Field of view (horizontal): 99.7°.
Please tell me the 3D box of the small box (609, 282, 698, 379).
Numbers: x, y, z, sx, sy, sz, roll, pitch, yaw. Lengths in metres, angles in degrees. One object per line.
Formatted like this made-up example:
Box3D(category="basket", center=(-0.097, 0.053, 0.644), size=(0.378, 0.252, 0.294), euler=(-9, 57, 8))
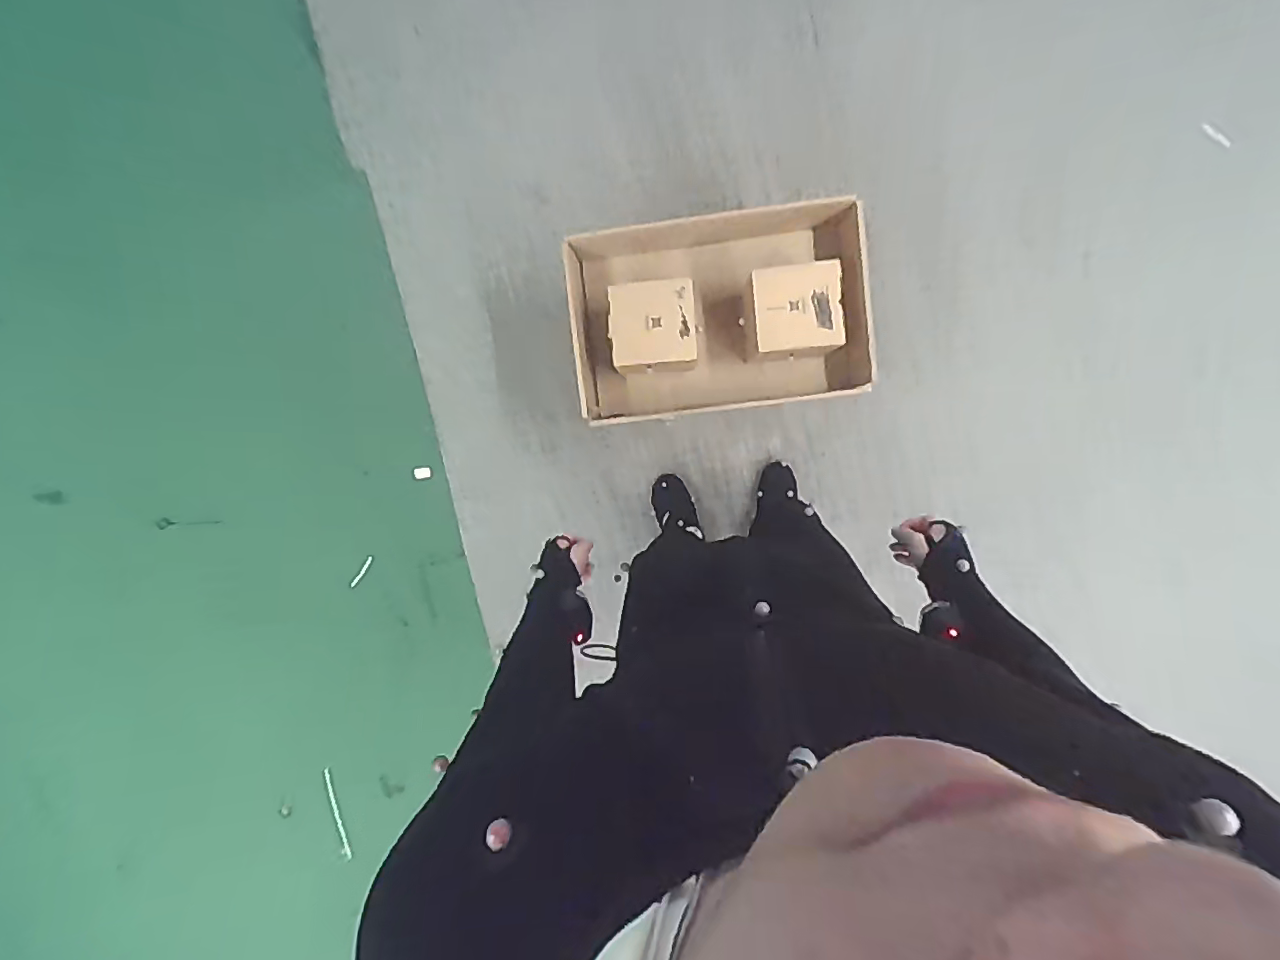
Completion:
Box3D(category="small box", center=(0.035, -0.317, 1.175), size=(0.179, 0.176, 0.168), euler=(-3, 93, 5))
